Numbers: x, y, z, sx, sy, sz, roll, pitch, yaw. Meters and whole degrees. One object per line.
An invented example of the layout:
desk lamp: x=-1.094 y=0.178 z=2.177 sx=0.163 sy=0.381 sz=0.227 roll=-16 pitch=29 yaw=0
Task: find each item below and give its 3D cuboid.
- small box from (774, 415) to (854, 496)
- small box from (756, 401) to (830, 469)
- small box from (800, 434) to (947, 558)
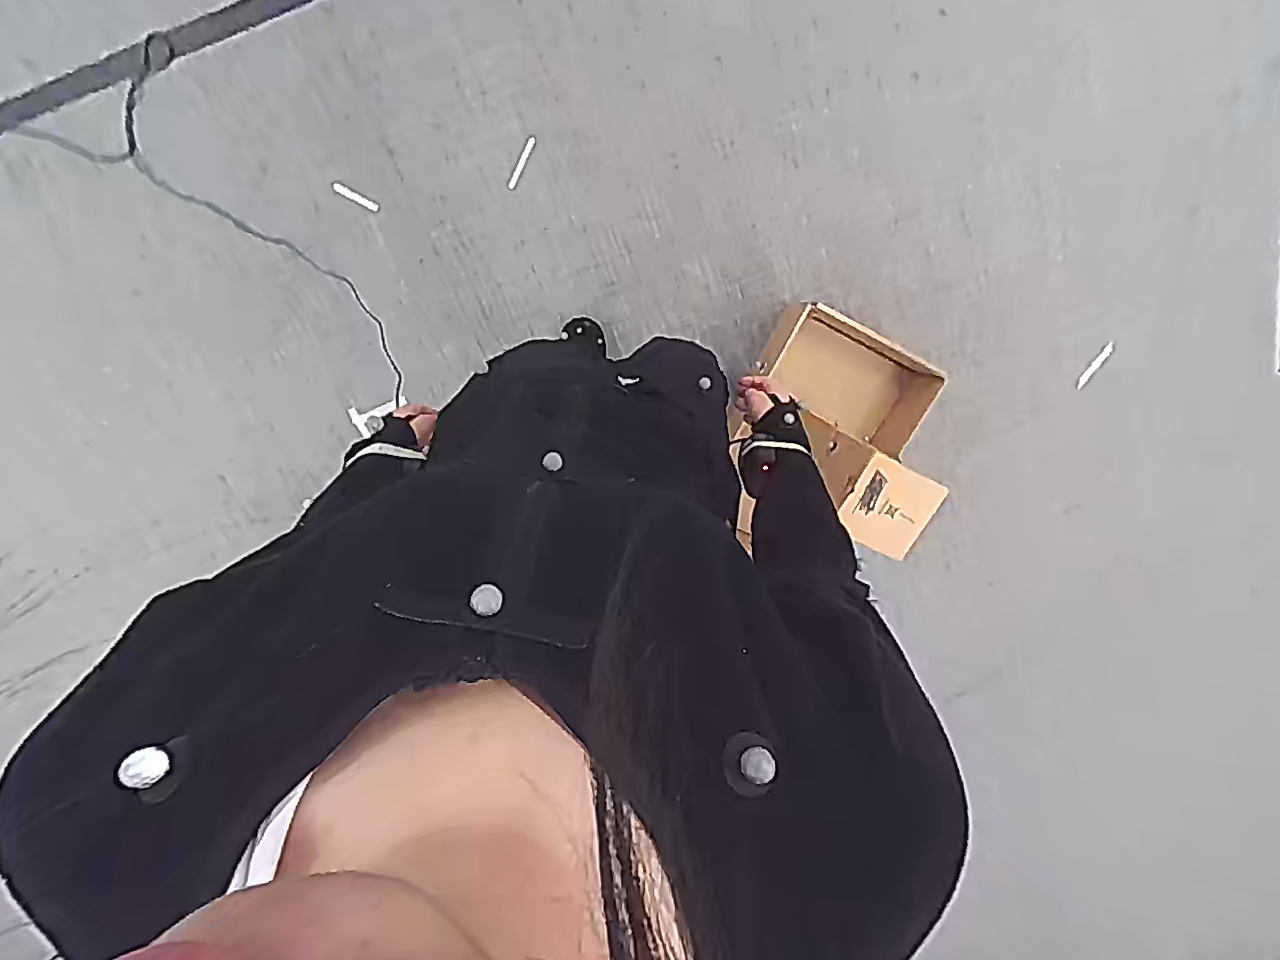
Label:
small box: x=0.436 y=-0.032 z=1.231 sx=0.179 sy=0.176 sz=0.168 roll=26 pitch=105 yaw=-11
small box: x=0.426 y=-0.086 z=1.383 sx=0.179 sy=0.176 sz=0.168 roll=27 pitch=105 yaw=-12
small box: x=0.450 y=0.023 z=1.076 sx=0.179 sy=0.176 sz=0.168 roll=25 pitch=106 yaw=-13
